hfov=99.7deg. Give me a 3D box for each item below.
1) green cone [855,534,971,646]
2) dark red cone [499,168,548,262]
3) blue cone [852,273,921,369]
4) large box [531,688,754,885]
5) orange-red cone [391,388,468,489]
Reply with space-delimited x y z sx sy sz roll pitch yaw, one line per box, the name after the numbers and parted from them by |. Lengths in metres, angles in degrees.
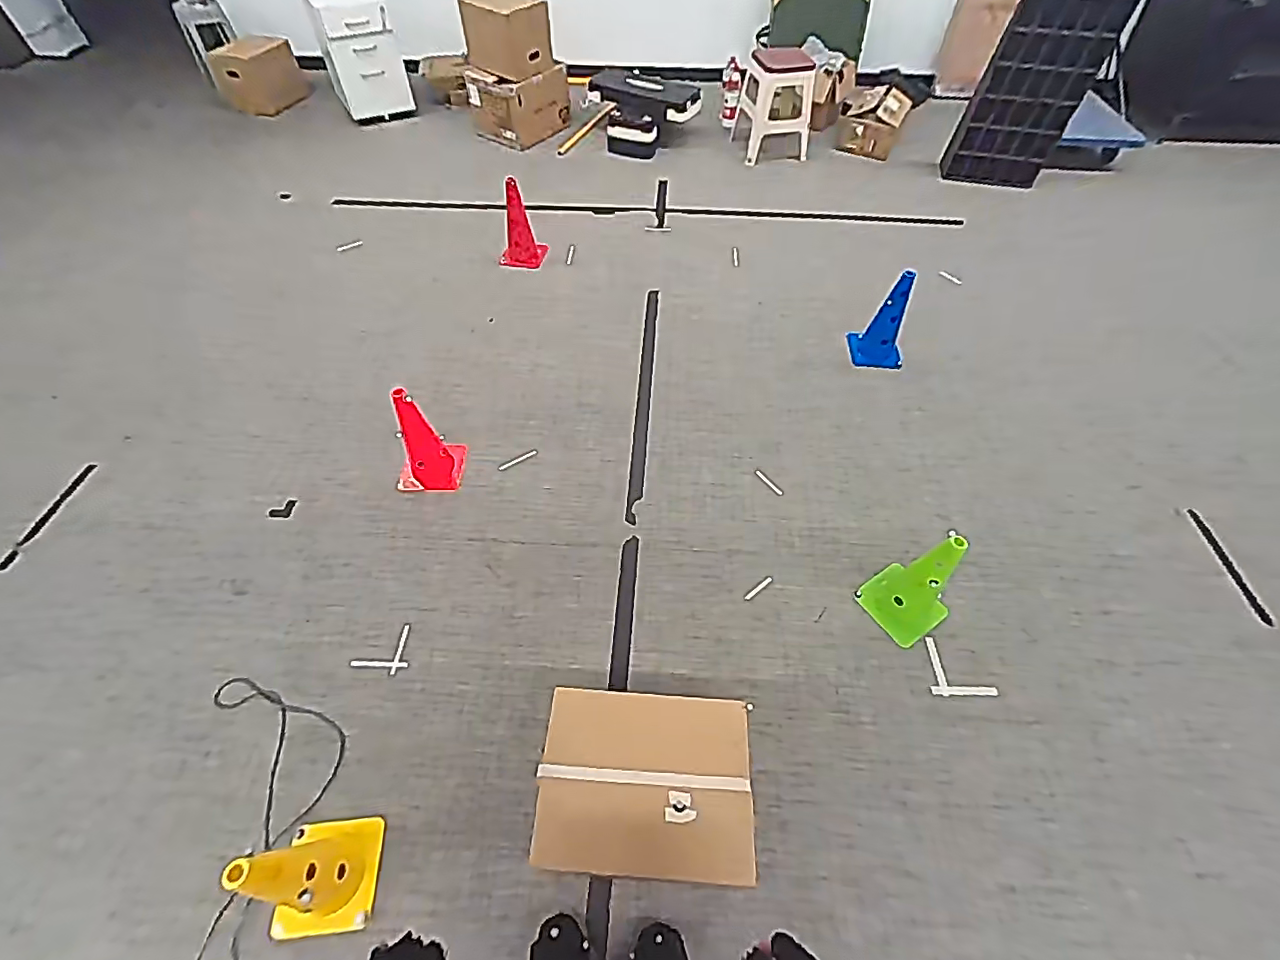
0.760 0.255 1.424 0.202 0.368 0.200 -28 59 -21 | green cone
-0.549 -1.201 2.449 0.201 0.394 0.202 8 54 4 | dark red cone
0.980 -0.627 2.098 0.192 0.380 0.193 6 54 2 | blue cone
0.007 0.662 1.159 0.408 0.320 0.320 4 53 1 | large box
-0.698 -0.148 1.700 0.198 0.360 0.199 1 55 1 | orange-red cone
